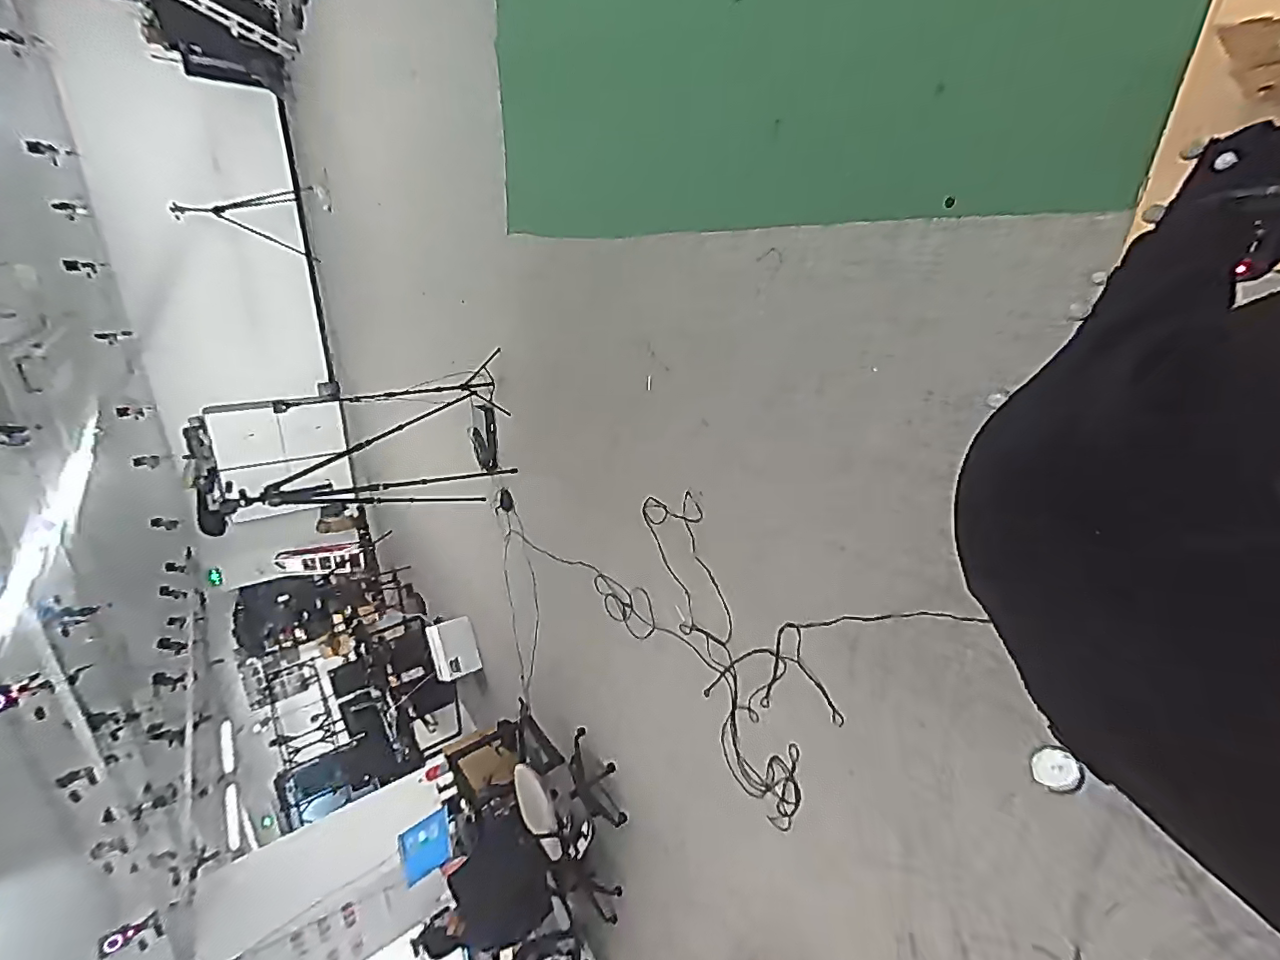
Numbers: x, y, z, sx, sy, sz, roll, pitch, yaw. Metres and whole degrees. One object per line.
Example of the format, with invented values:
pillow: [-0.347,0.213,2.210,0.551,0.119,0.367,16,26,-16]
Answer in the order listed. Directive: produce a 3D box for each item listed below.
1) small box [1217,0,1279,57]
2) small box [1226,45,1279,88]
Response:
small box: [0.905,-0.681,0.693,0.168,0.176,0.179,32,126,45]
small box: [1.031,-0.702,0.795,0.168,0.176,0.179,31,124,46]
